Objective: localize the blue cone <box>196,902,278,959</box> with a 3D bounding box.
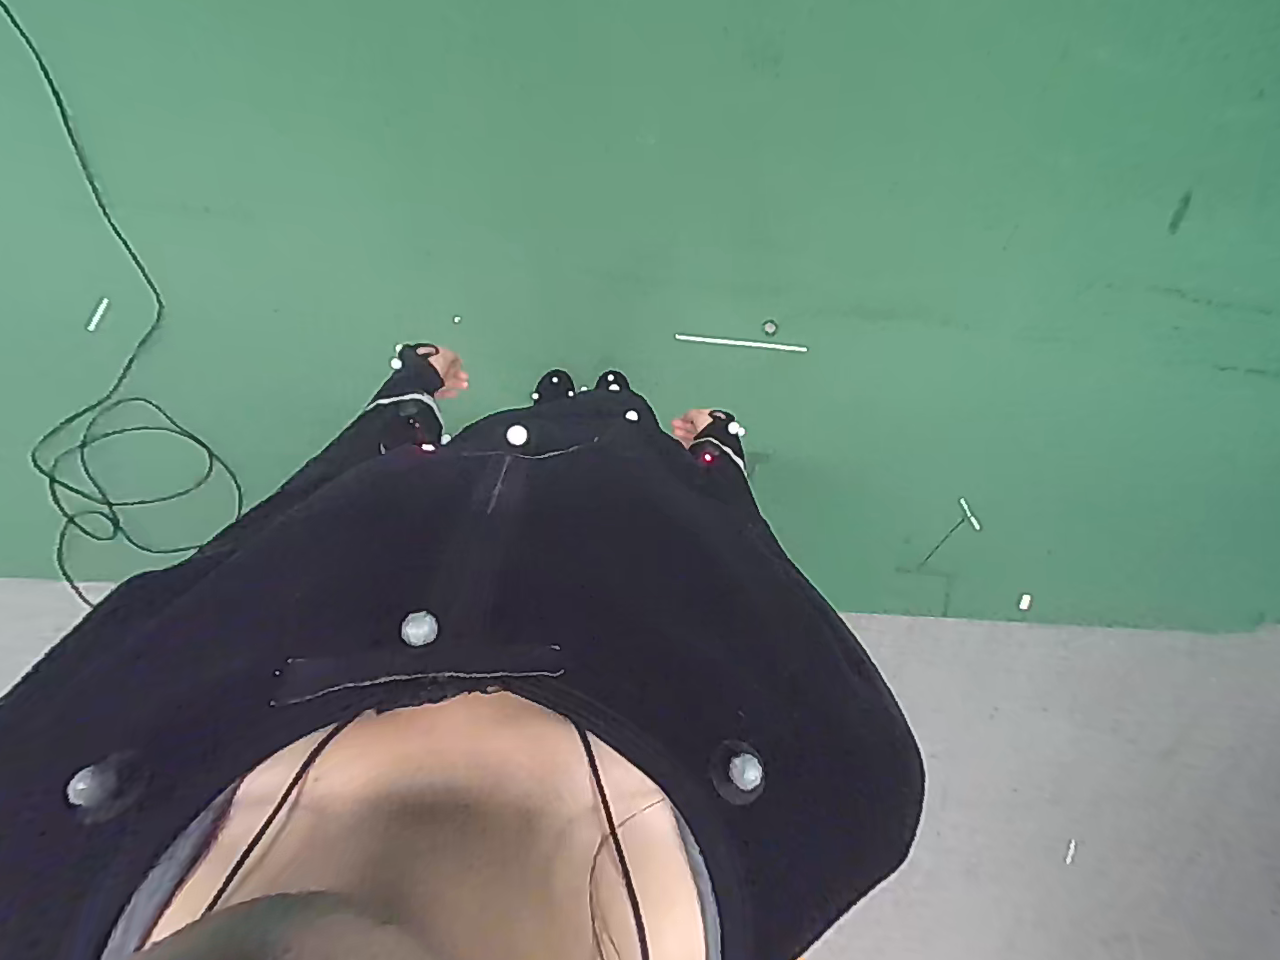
[{"bbox_3d":[-1.207,1.421,1.484,0.193,0.380,0.192,-39,104,4],"label":"blue cone"}]
